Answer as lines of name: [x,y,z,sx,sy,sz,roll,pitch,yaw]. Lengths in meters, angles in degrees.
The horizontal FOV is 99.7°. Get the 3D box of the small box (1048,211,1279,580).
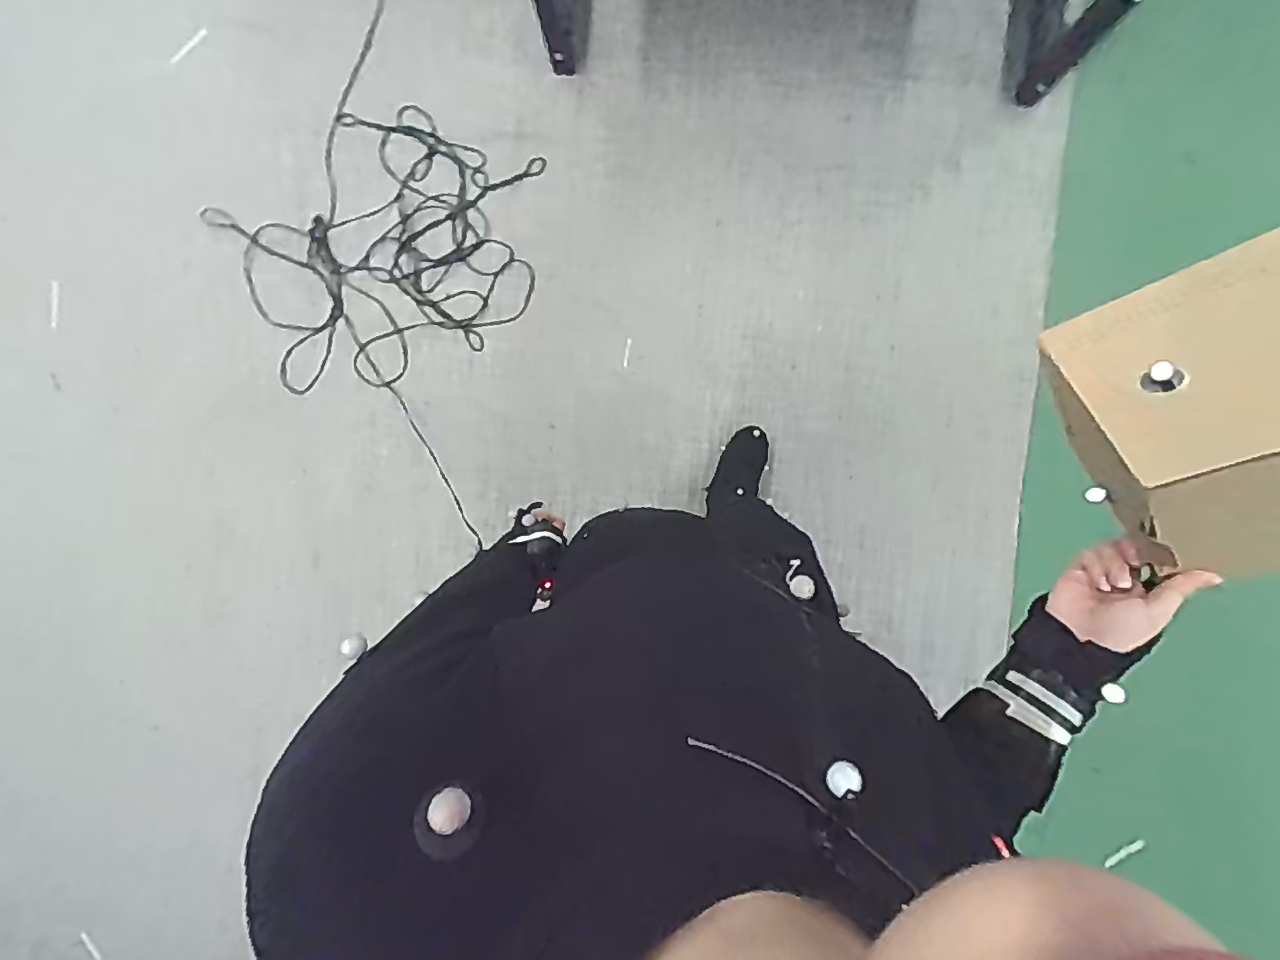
small box: [0.433,-0.057,0.391,0.179,0.176,0.168,-28,132,30]
